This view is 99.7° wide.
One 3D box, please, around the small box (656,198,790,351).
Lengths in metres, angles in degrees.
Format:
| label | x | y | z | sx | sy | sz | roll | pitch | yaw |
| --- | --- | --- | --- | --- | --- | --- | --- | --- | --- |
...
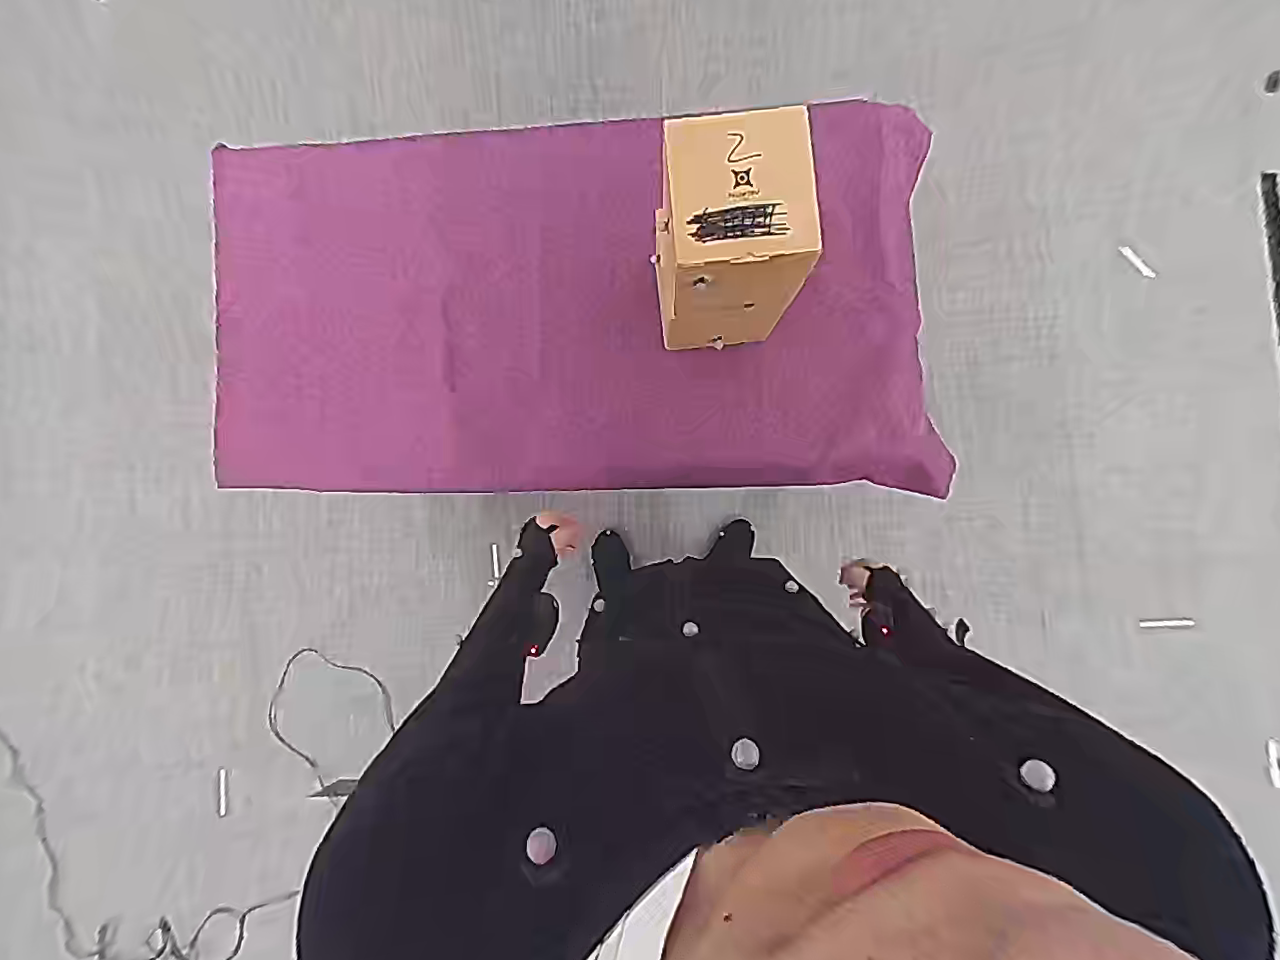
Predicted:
| label | x | y | z | sx | sy | sz | roll | pitch | yaw |
| --- | --- | --- | --- | --- | --- | --- | --- | --- | --- |
| small box | 0.120 | -0.311 | 0.847 | 0.179 | 0.176 | 0.168 | -6 | 87 | 1 |
